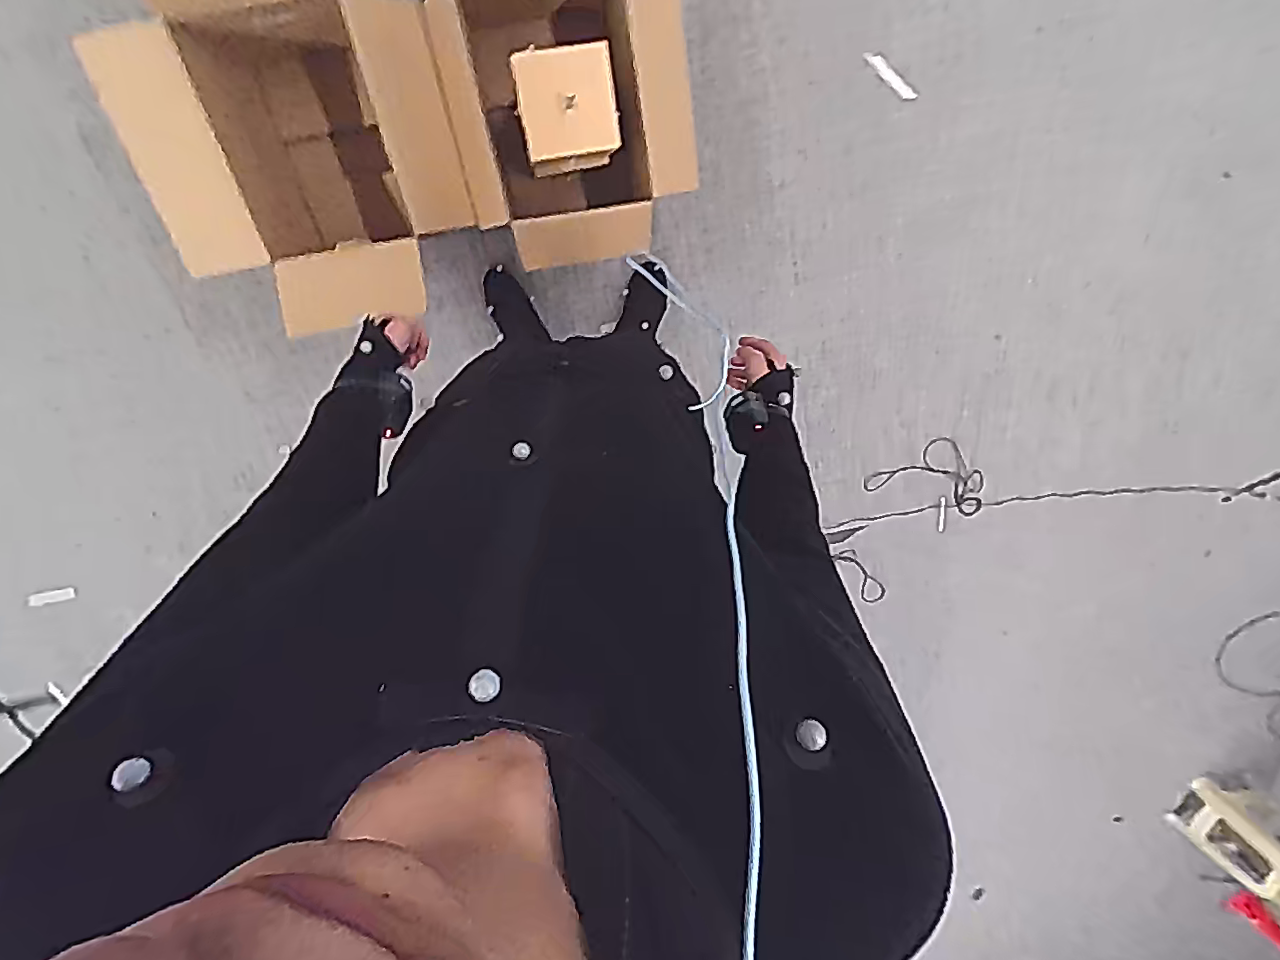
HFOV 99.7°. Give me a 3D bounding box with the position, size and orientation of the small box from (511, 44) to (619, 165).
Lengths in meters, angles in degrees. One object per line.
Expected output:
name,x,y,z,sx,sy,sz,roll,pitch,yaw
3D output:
small box,-0.148,-0.728,1.063,0.179,0.176,0.168,-11,118,-4
